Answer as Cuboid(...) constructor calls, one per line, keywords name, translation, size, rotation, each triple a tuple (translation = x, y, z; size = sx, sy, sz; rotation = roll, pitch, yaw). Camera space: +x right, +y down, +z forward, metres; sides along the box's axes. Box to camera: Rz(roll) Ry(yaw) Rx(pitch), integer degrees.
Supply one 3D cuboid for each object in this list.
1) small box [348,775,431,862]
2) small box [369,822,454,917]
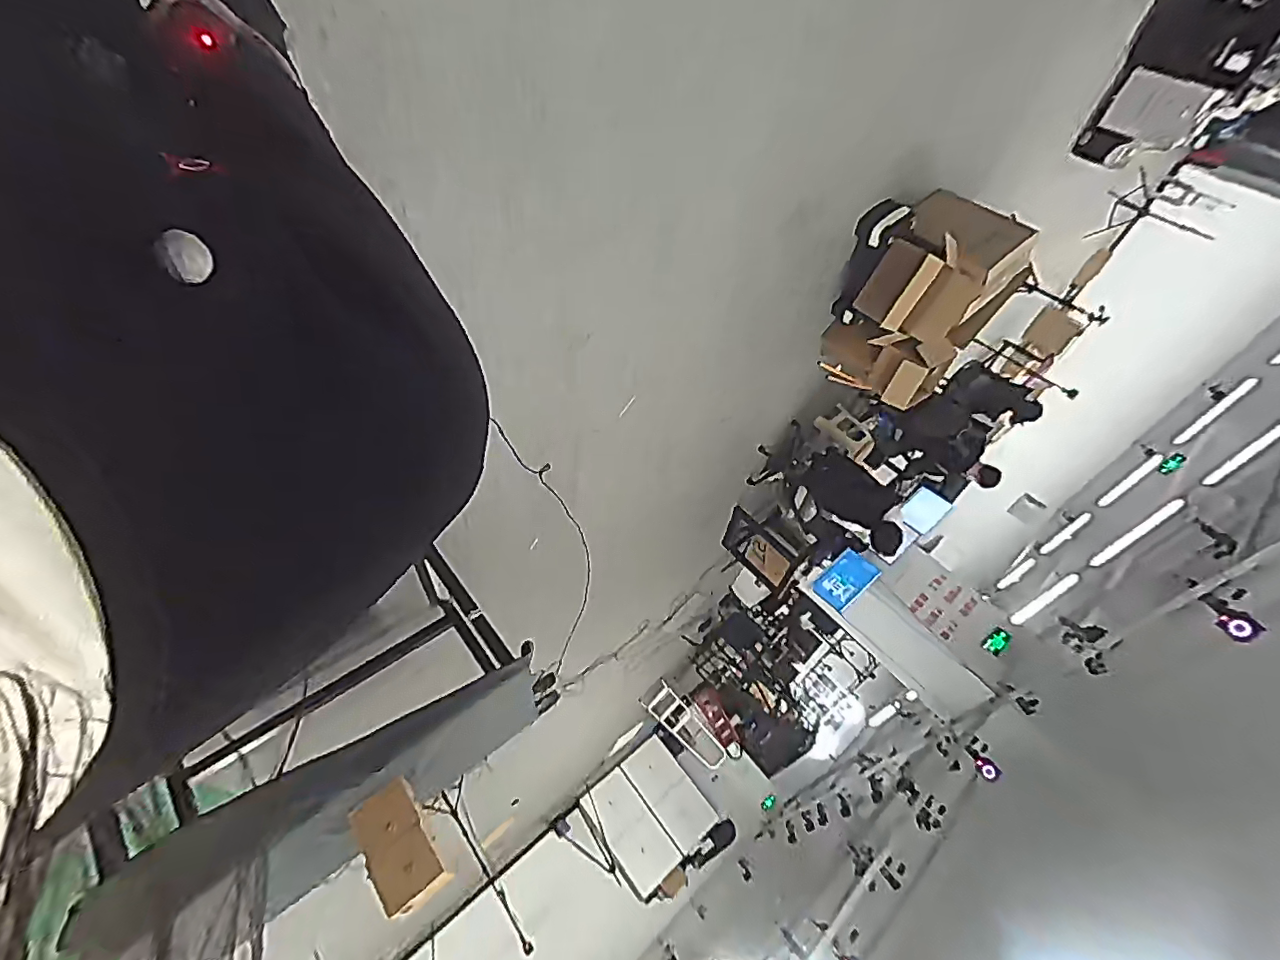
Cuboid(name="small box", translation=(-0.807, 1.095, 1.746), size=(0.179, 0.176, 0.168), rotation=(-29, 149, -27))
Cuboid(name="small box", translation=(-0.708, 1.198, 1.665), size=(0.179, 0.176, 0.168), rotation=(-32, 150, -24))
